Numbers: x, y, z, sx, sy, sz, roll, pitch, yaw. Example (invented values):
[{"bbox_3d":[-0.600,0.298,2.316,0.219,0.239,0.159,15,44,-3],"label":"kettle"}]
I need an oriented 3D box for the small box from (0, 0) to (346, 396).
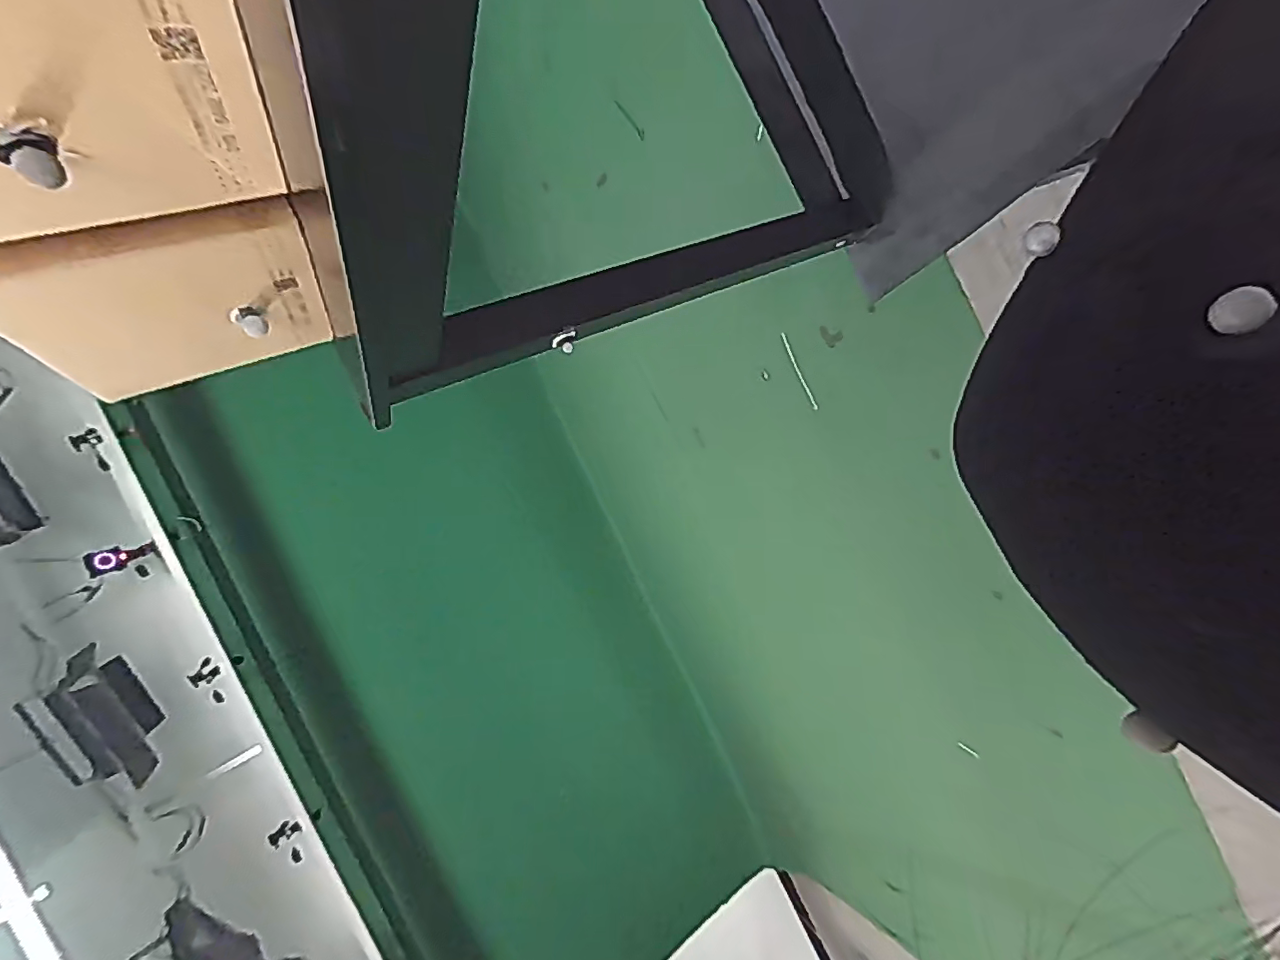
[{"bbox_3d":[-0.330,-0.187,0.372,0.179,0.176,0.168,62,155,-1],"label":"small box"}]
